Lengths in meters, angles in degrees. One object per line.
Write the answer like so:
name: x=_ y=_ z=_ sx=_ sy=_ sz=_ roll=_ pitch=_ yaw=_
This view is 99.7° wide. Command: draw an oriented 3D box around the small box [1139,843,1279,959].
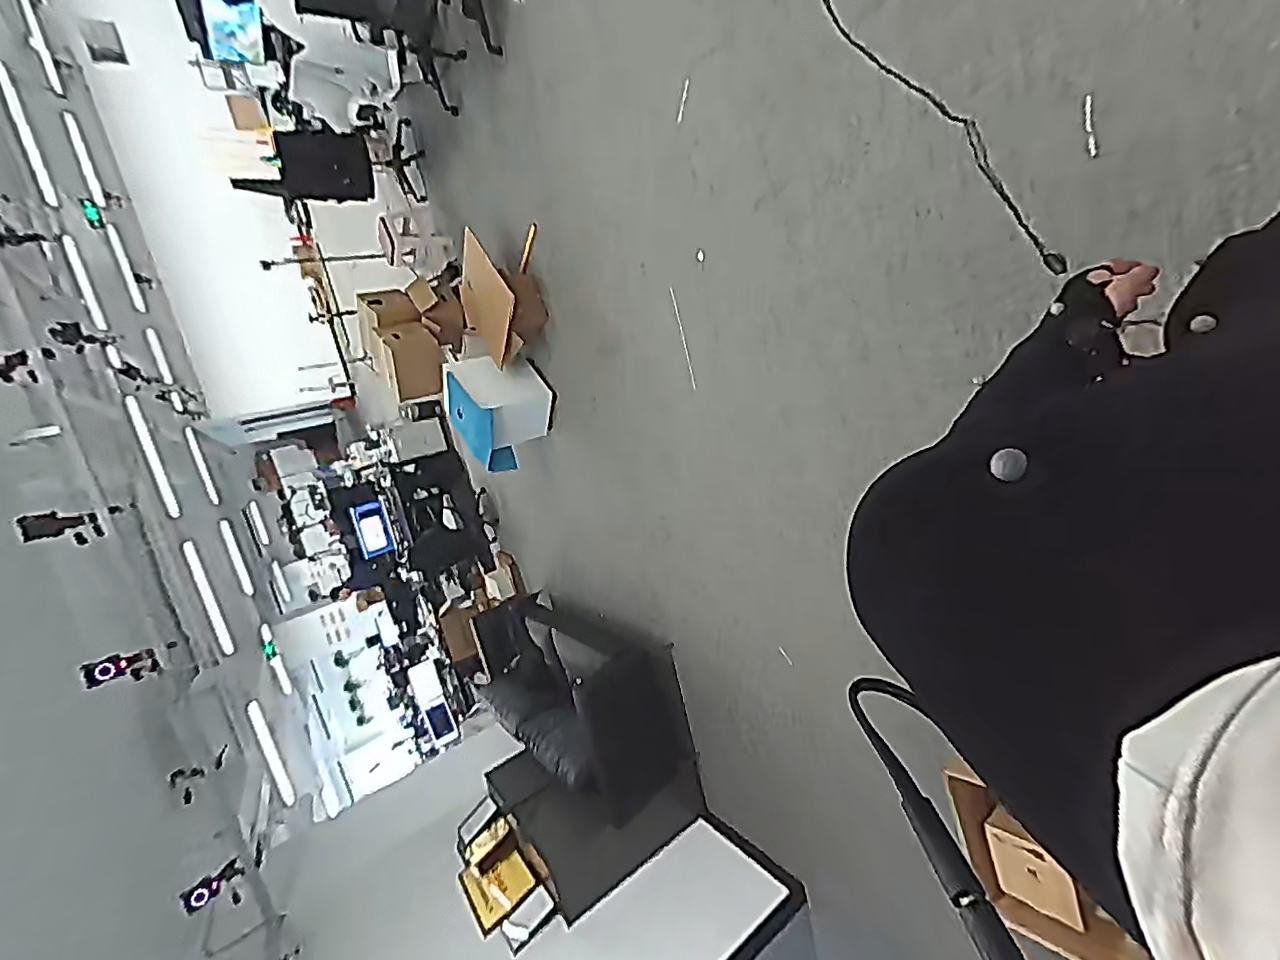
small box: x=1.072 y=0.830 z=1.004 sx=0.168 sy=0.176 sz=0.179 roll=-12 pitch=97 yaw=57

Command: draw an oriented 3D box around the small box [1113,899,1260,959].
small box: x=0.941 y=0.879 z=0.918 sx=0.168 sy=0.176 sz=0.179 roll=-4 pitch=104 yaw=57
